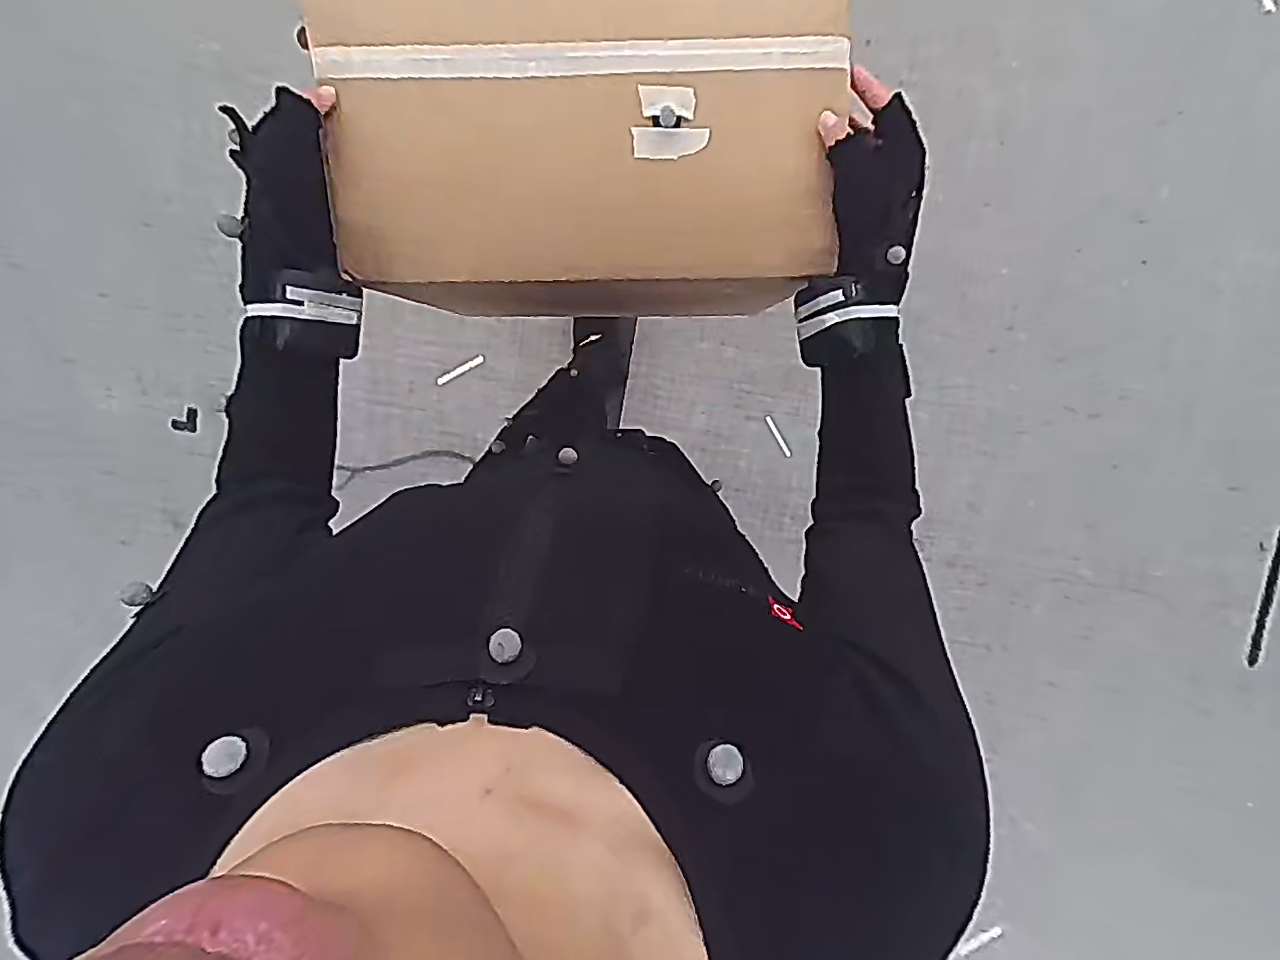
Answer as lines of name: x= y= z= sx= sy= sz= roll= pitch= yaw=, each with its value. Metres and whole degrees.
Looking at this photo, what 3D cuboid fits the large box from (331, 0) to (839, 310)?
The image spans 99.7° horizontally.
large box: x=-0.044 y=-0.362 z=0.573 sx=0.408 sy=0.320 sz=0.320 roll=-1 pitch=102 yaw=0
